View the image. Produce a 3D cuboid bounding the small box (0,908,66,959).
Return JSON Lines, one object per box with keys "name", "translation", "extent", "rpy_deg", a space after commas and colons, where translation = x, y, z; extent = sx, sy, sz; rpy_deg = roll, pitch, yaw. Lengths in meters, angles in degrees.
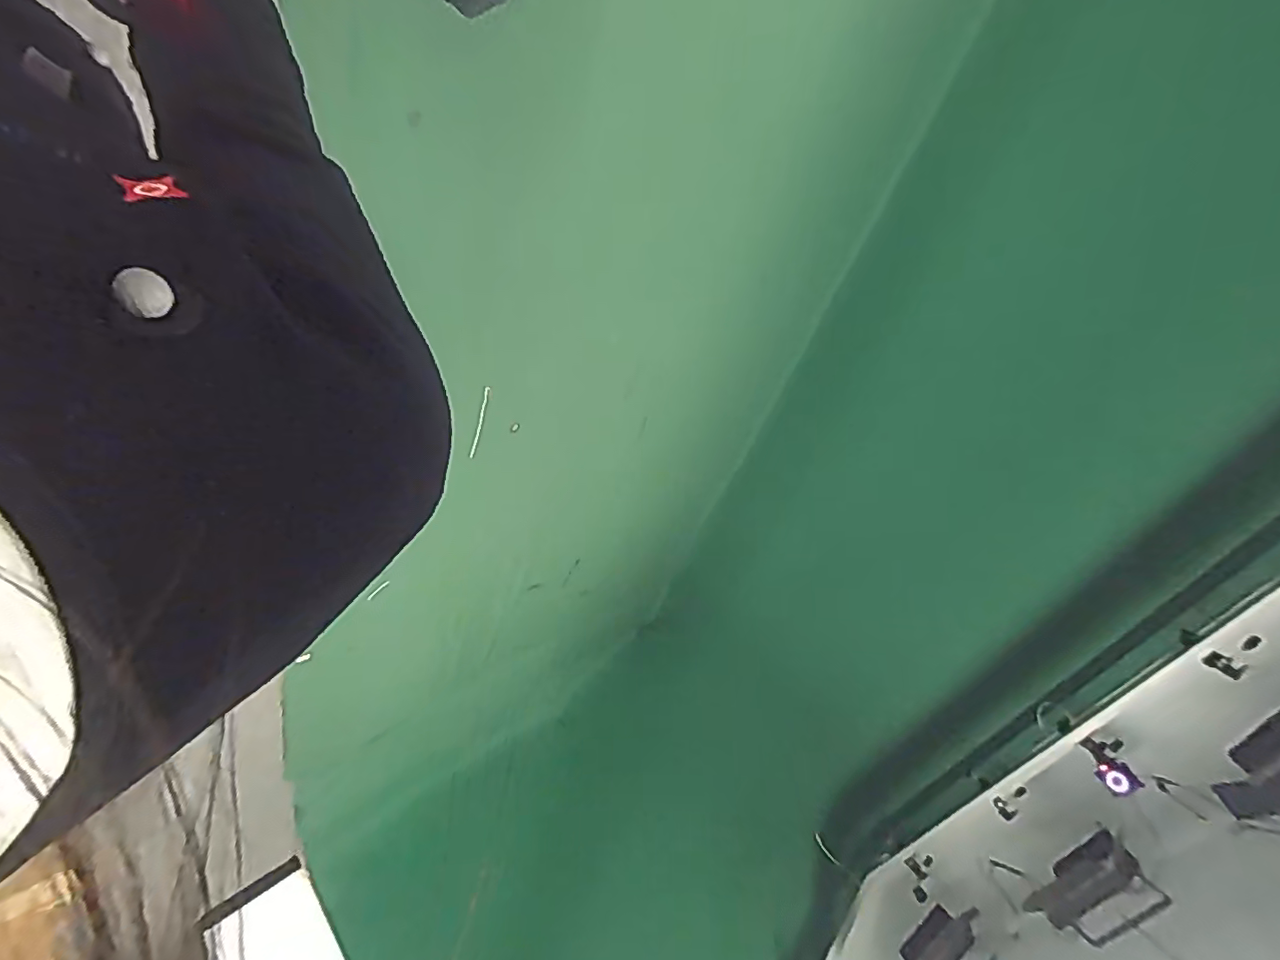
{"name": "small box", "translation": [-1.697, 1.336, 1.470], "extent": [0.179, 0.176, 0.168], "rpy_deg": [-12, 132, -51]}
